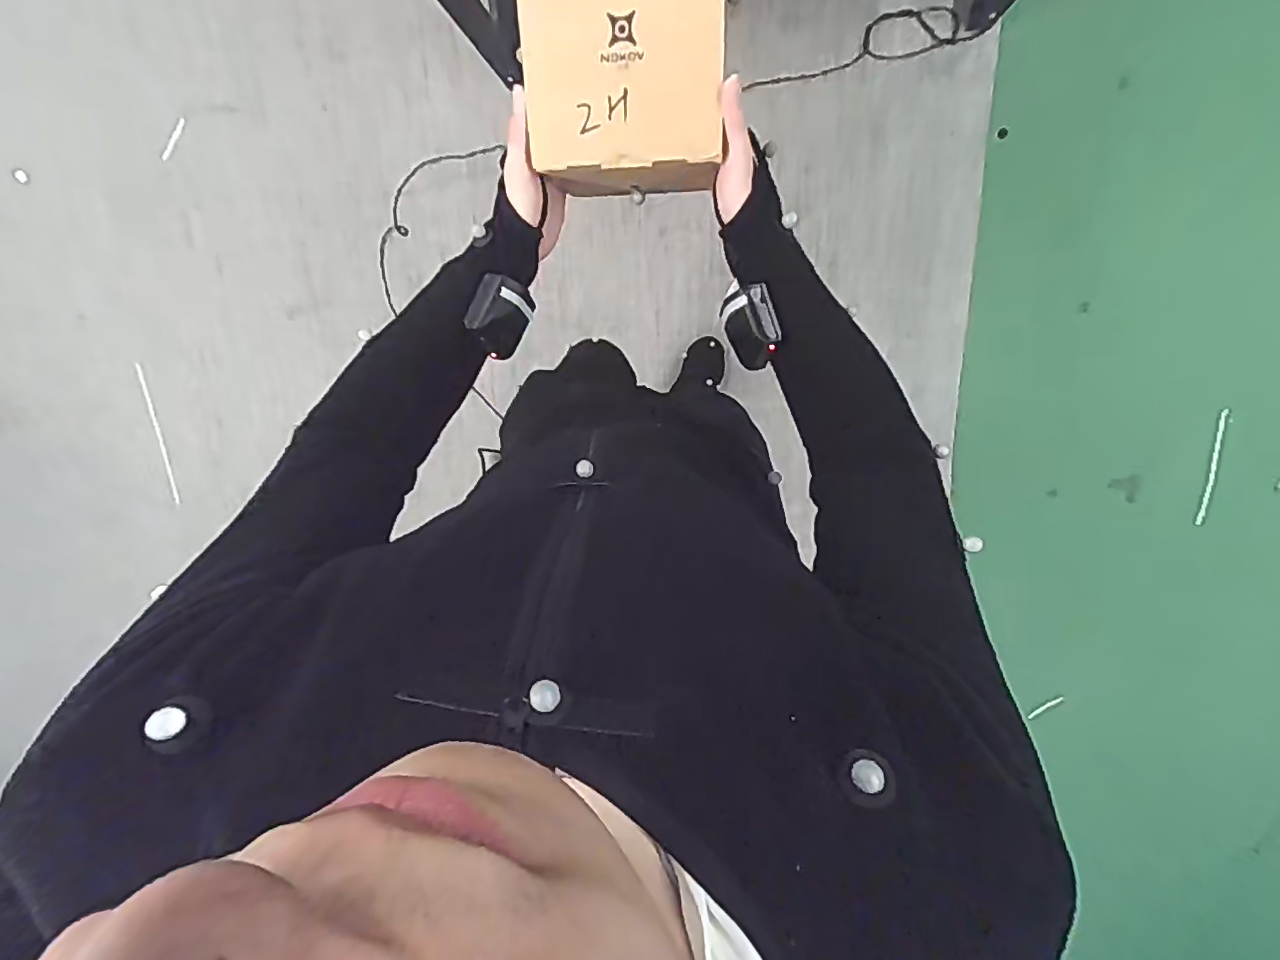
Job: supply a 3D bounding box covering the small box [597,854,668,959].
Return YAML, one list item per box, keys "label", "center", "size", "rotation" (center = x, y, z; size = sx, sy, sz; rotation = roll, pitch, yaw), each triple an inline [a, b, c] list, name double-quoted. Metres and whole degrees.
- label: "small box"
  center: [-0.014, 1.138, 1.444]
  size: [0.168, 0.176, 0.179]
  rotation: [-3, 106, 7]

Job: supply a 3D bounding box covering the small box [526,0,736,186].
- label: "small box"
  center: [-0.002, -0.384, 0.497]
  size: [0.168, 0.176, 0.179]
  rotation: [0, 111, 6]
